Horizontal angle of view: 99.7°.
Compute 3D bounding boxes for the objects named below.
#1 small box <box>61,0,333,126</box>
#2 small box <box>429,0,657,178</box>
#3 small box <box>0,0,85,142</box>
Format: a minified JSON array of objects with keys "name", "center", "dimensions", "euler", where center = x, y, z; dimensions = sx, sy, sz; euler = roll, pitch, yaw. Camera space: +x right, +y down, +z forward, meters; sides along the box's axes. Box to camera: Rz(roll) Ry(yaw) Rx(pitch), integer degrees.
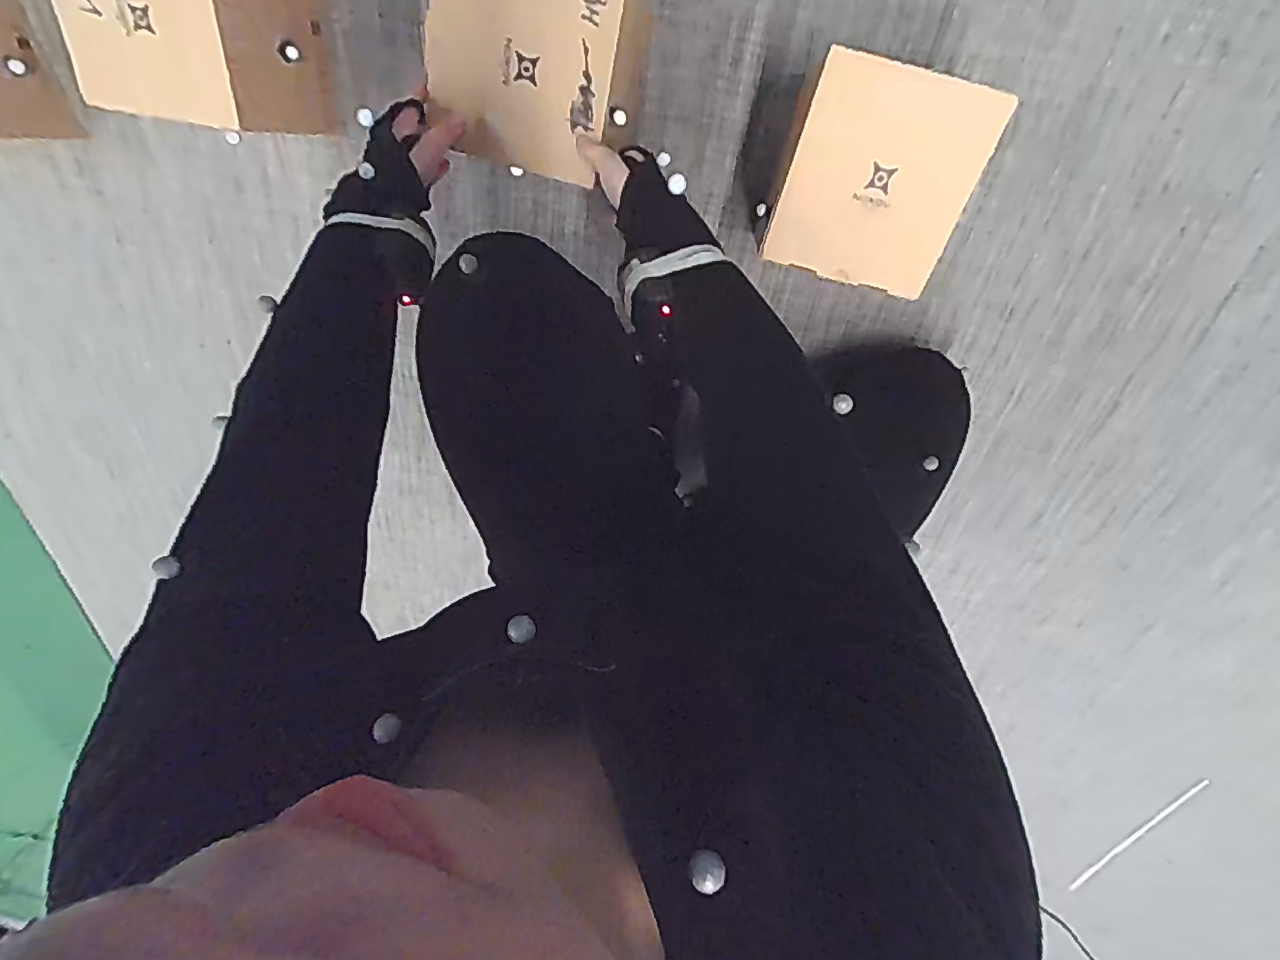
[{"name":"small box","center":[-0.462,-0.493,0.583],"dimensions":[0.179,0.176,0.168],"euler":[12,122,3]},{"name":"small box","center":[-0.093,-0.426,0.555],"dimensions":[0.179,0.176,0.168],"euler":[16,124,1]},{"name":"small box","center":[-0.854,-0.507,0.648],"dimensions":[0.179,0.176,0.168],"euler":[1,122,9]}]
